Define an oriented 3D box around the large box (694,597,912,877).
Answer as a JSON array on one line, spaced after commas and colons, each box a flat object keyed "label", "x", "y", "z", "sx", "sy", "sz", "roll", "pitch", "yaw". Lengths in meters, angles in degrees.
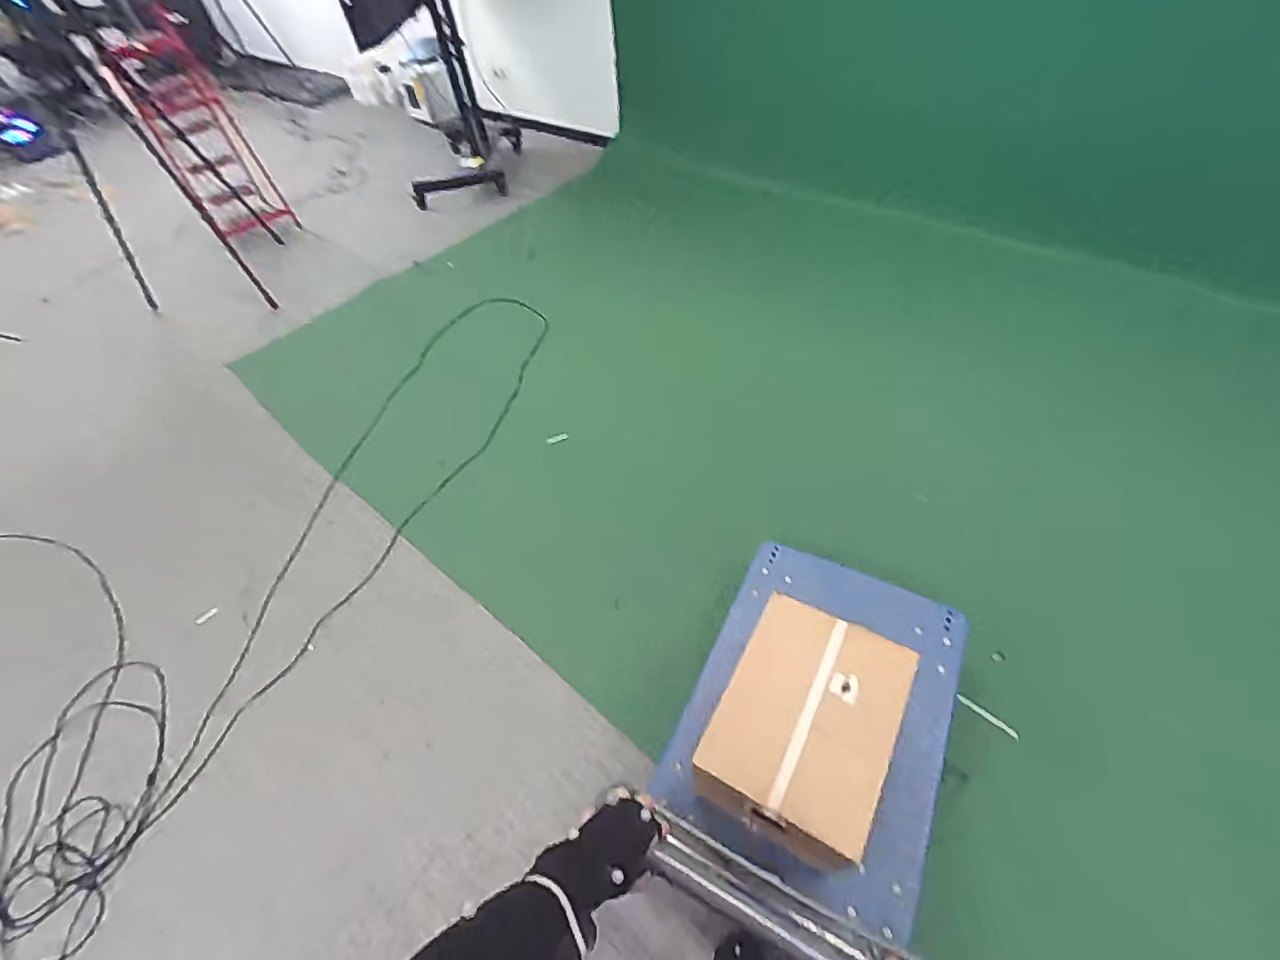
[{"label": "large box", "x": 0.340, "y": 0.544, "z": 1.165, "sx": 0.320, "sy": 0.320, "sz": 0.408, "roll": 22, "pitch": 56, "yaw": 23}]
